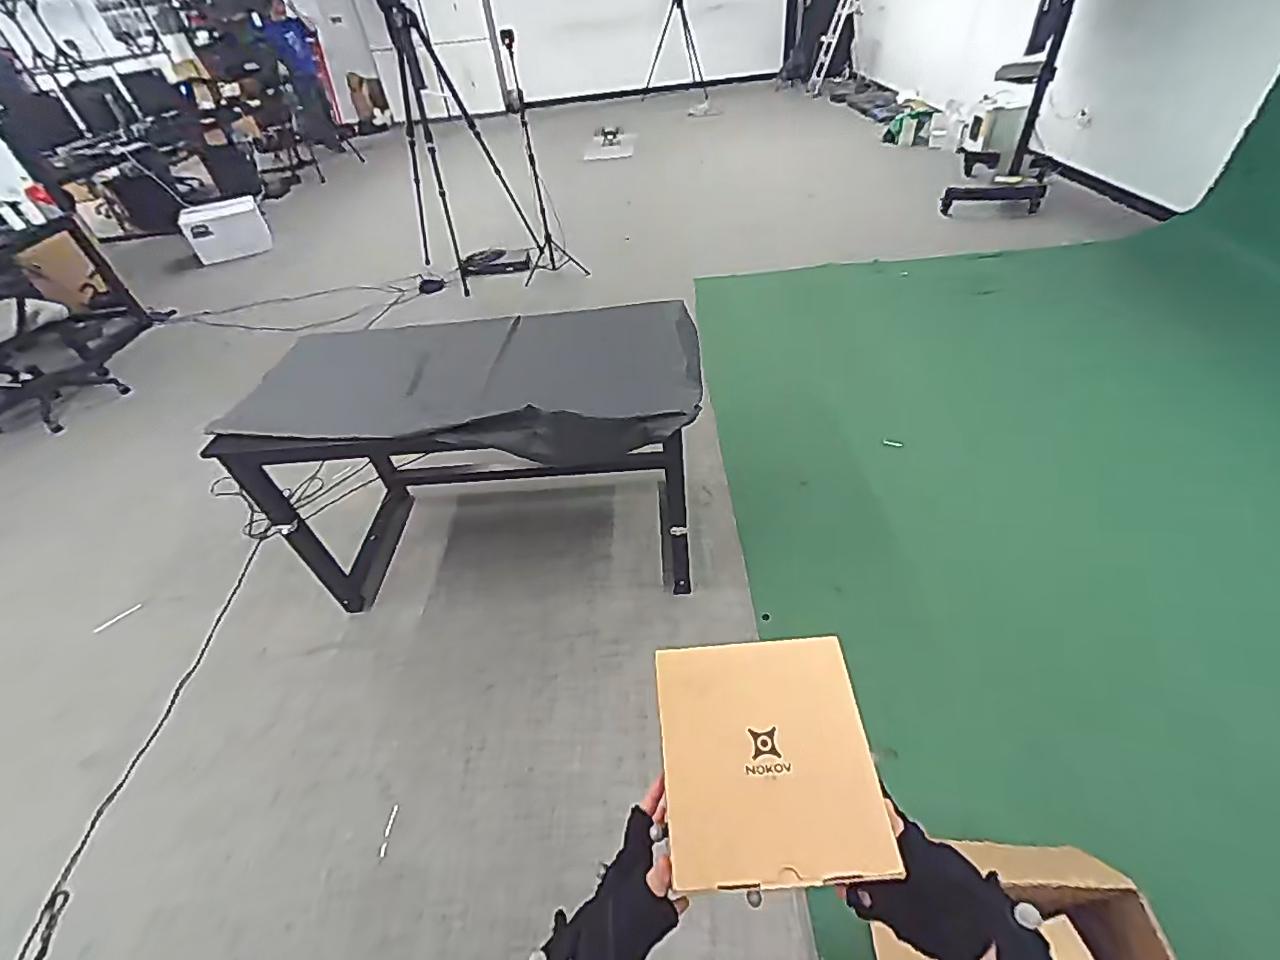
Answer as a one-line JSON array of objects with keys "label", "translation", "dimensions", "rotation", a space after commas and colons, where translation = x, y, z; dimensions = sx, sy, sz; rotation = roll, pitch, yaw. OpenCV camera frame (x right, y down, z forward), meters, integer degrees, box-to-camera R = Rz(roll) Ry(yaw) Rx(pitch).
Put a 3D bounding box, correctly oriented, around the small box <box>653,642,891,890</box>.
[{"label": "small box", "translation": [0.098, 0.268, 0.504], "dimensions": [0.168, 0.176, 0.179], "rotation": [-4, 55, -1]}]
